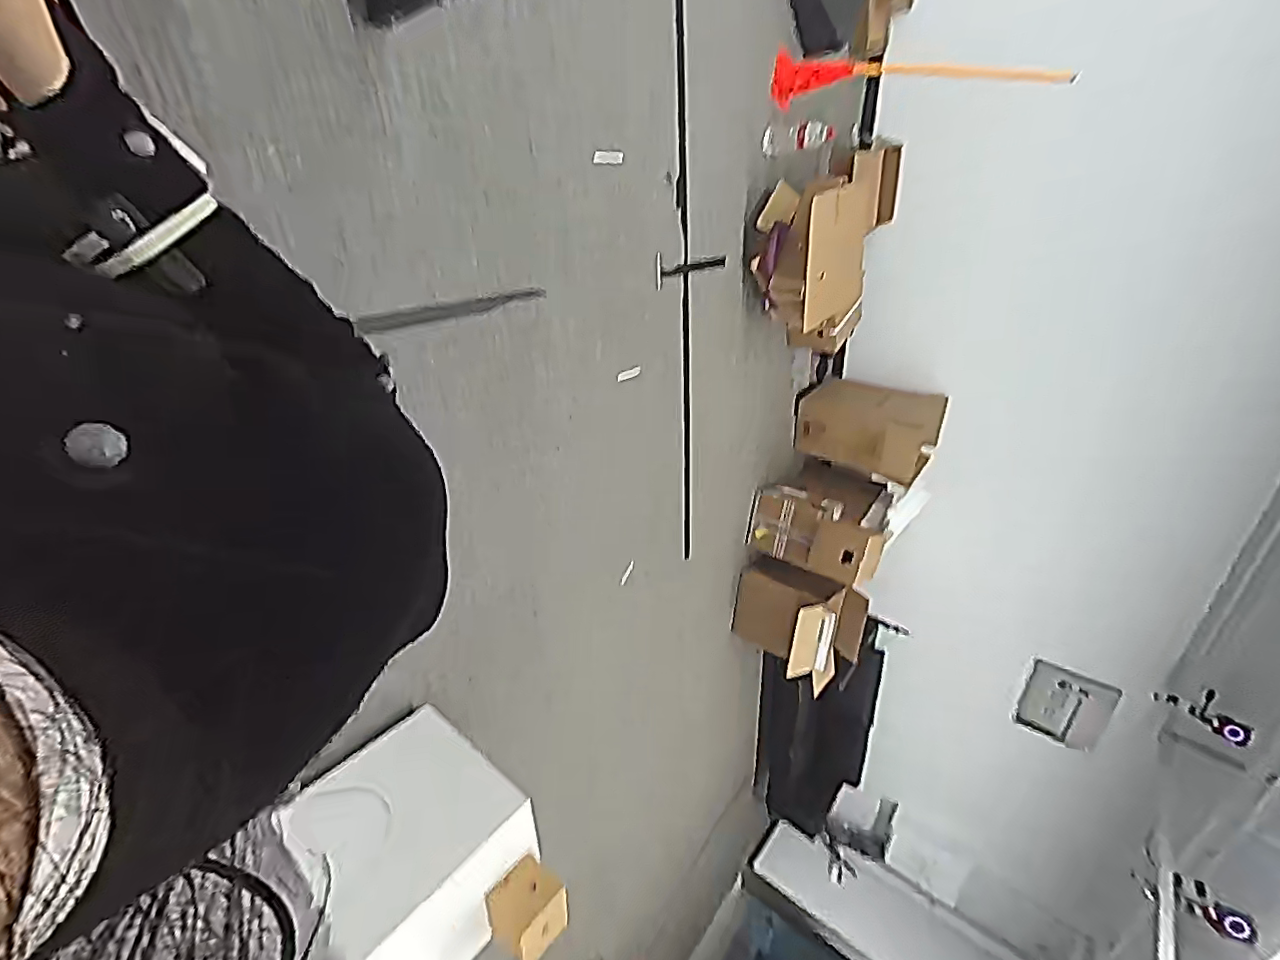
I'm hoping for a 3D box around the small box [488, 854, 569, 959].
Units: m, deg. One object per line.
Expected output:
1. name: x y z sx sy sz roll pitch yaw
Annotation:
1. small box: -0.326 1.243 1.577 0.168 0.176 0.179 -25 125 -45
